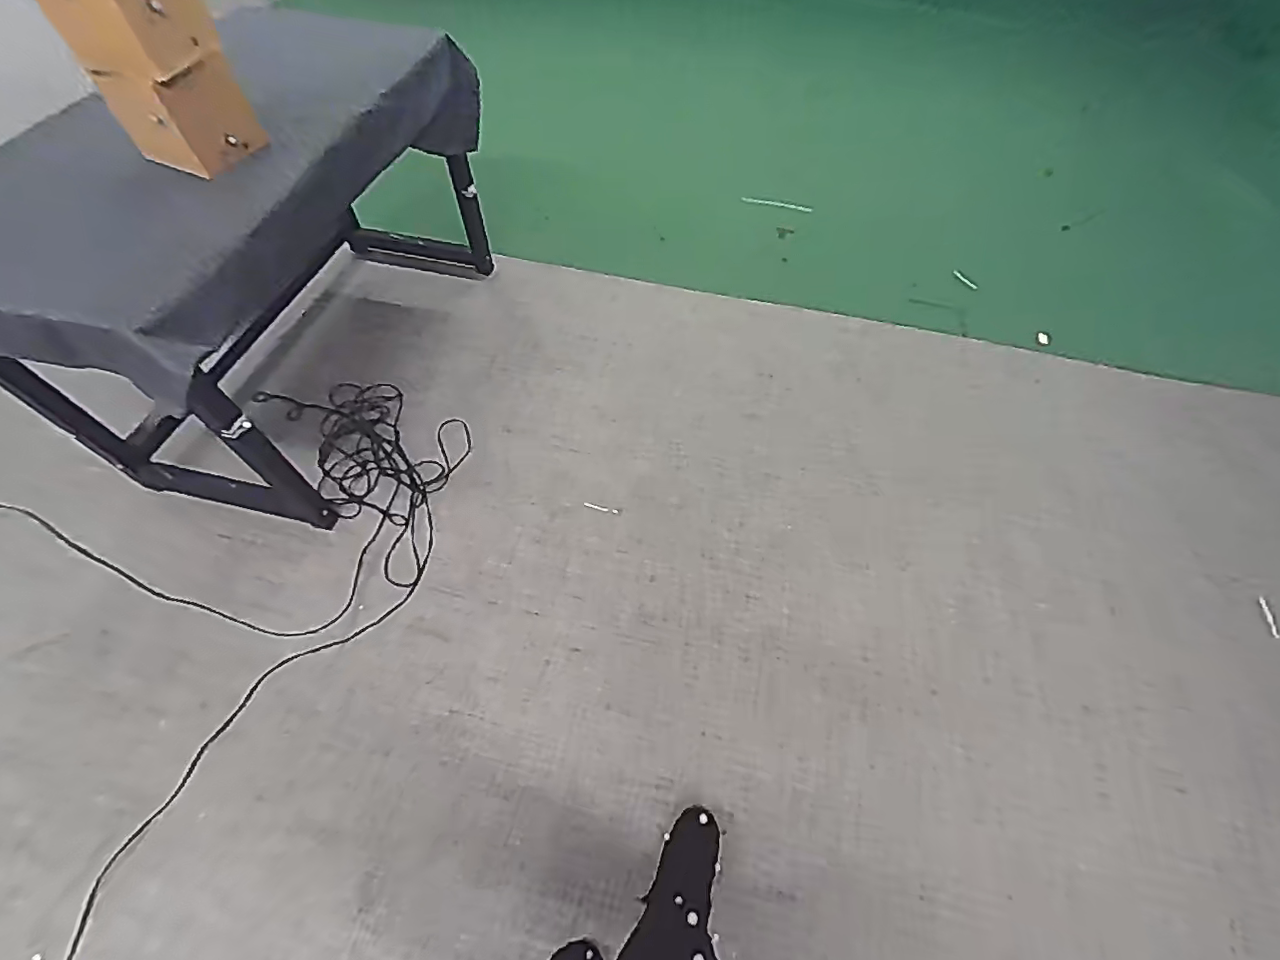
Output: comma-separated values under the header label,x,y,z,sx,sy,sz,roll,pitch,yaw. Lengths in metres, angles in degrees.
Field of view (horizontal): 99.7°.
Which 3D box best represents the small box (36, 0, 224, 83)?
label,x,y,z,sx,sy,sz,roll,pitch,yaw
small box,-0.869,-0.807,0.914,0.179,0.176,0.168,14,58,7
